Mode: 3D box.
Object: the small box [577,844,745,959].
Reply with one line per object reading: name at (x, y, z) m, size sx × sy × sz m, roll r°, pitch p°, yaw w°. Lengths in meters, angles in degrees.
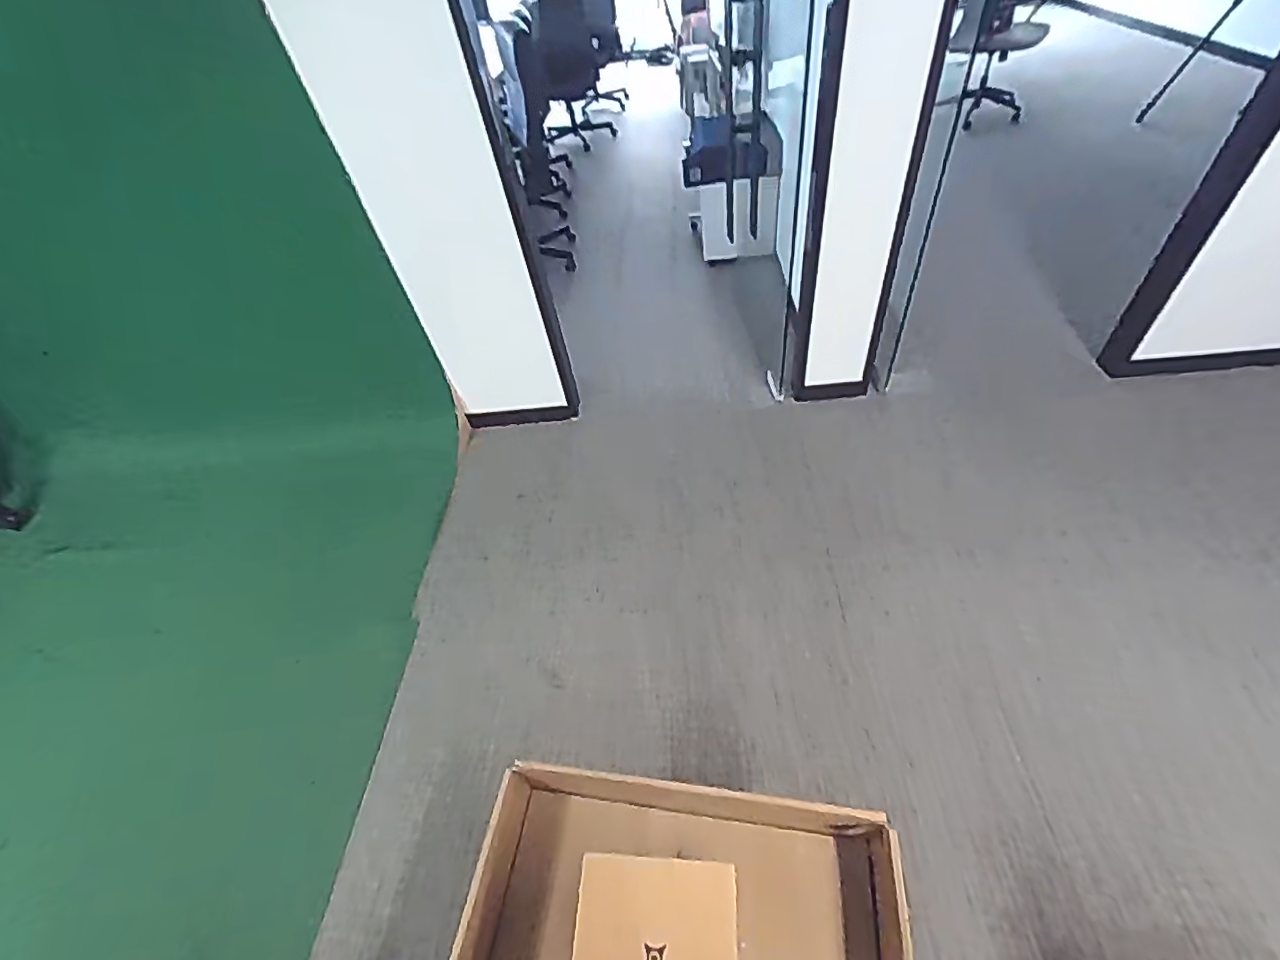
small box at (0.027, 0.512, 0.586) m, size 0.168 × 0.176 × 0.179 m, roll -1°, pitch 52°, yaw 7°
